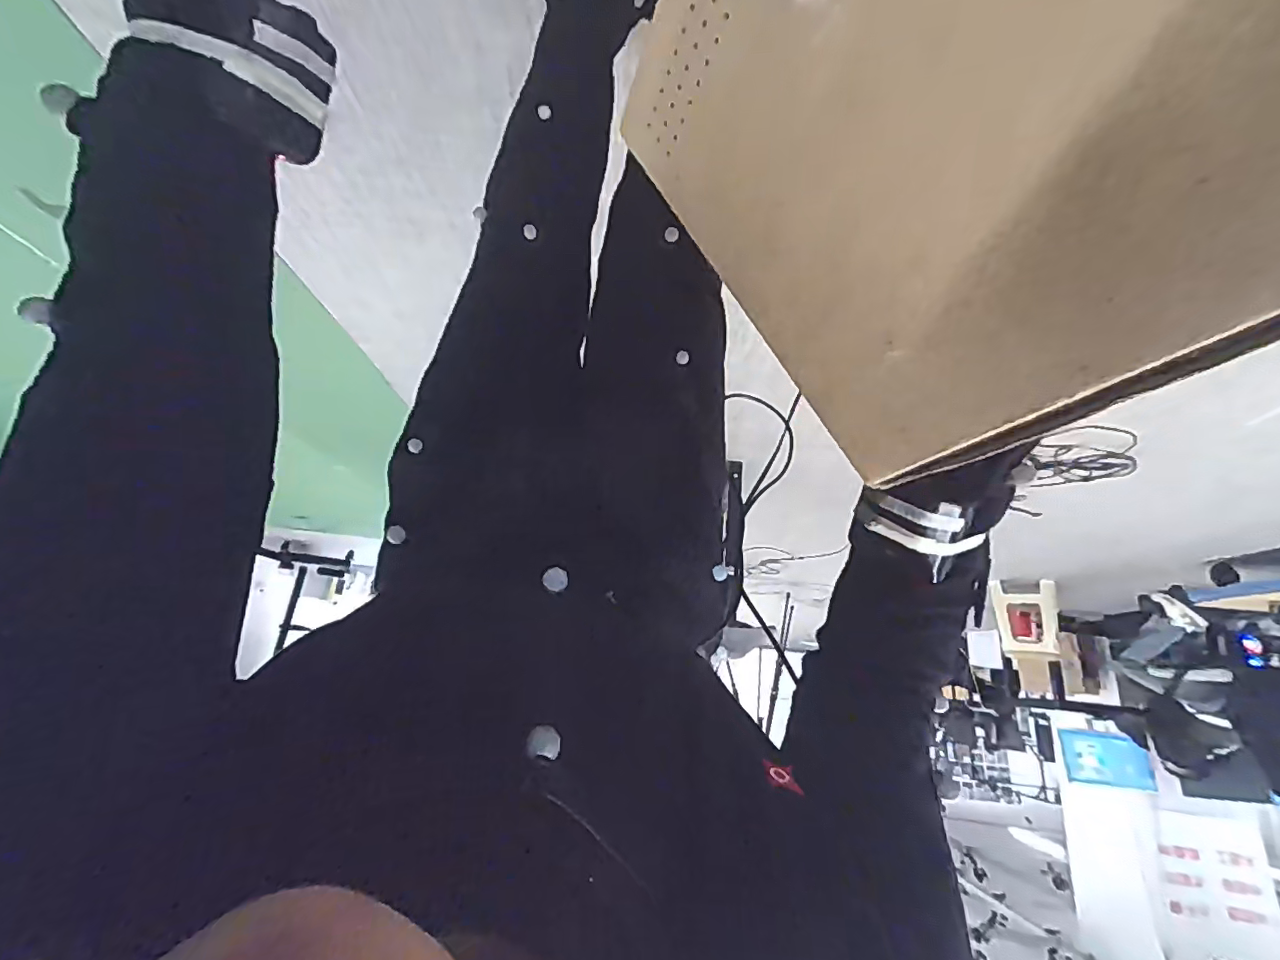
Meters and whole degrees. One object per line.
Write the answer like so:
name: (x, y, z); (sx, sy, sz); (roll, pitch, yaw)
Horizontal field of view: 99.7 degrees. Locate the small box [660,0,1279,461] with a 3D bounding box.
small box: (0.129, -0.135, 0.155); (0.168, 0.176, 0.179); (-31, 175, -25)
